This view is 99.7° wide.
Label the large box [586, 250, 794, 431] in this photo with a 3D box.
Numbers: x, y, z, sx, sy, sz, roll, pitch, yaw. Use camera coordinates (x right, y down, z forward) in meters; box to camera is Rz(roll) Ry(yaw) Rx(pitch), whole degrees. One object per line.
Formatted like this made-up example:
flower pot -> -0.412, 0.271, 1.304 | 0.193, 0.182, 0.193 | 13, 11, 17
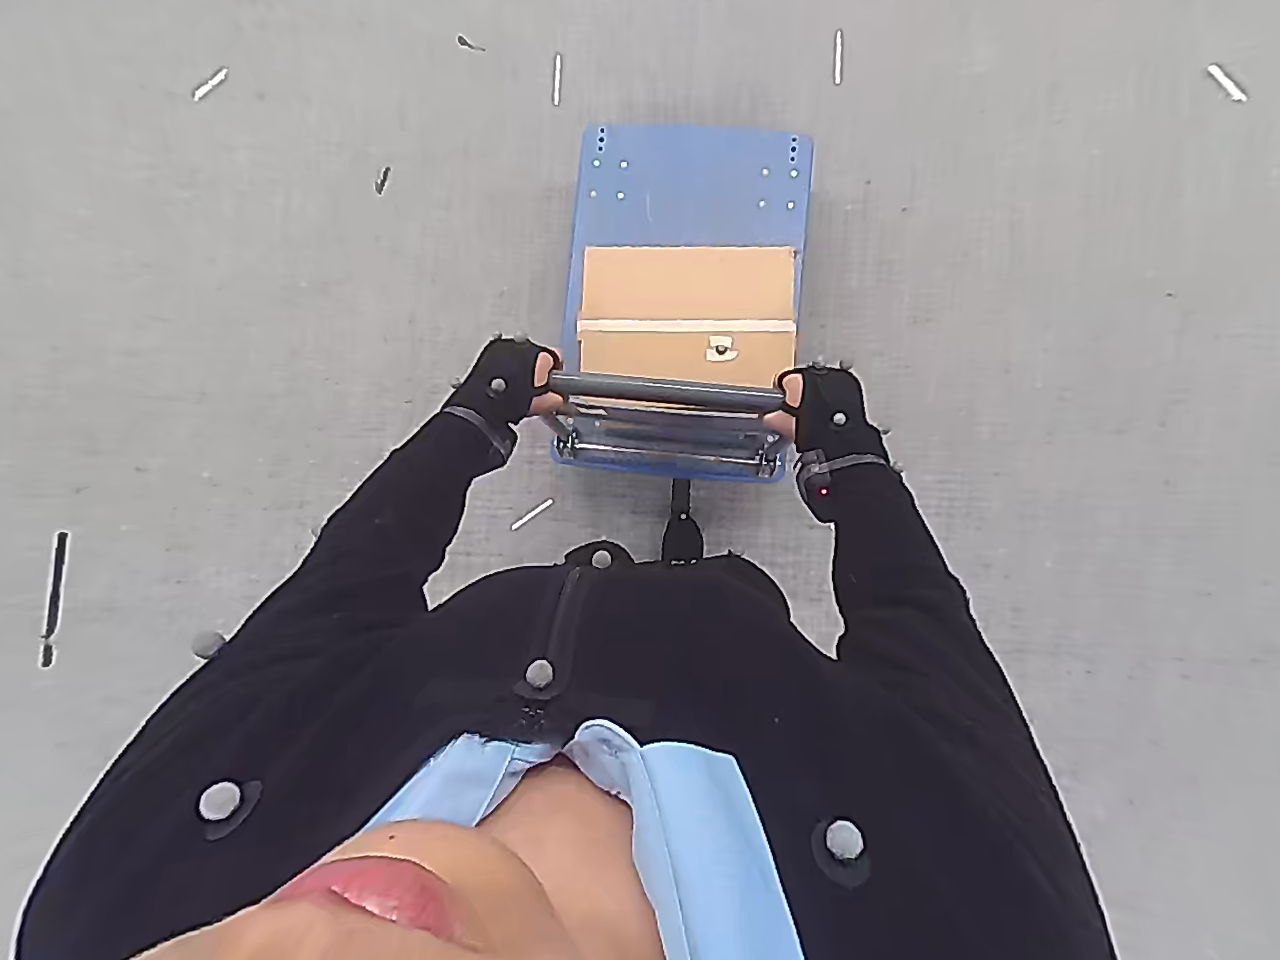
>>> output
large box -> 0.100, -0.283, 1.186 | 0.408, 0.320, 0.320 | 1, 88, 3
